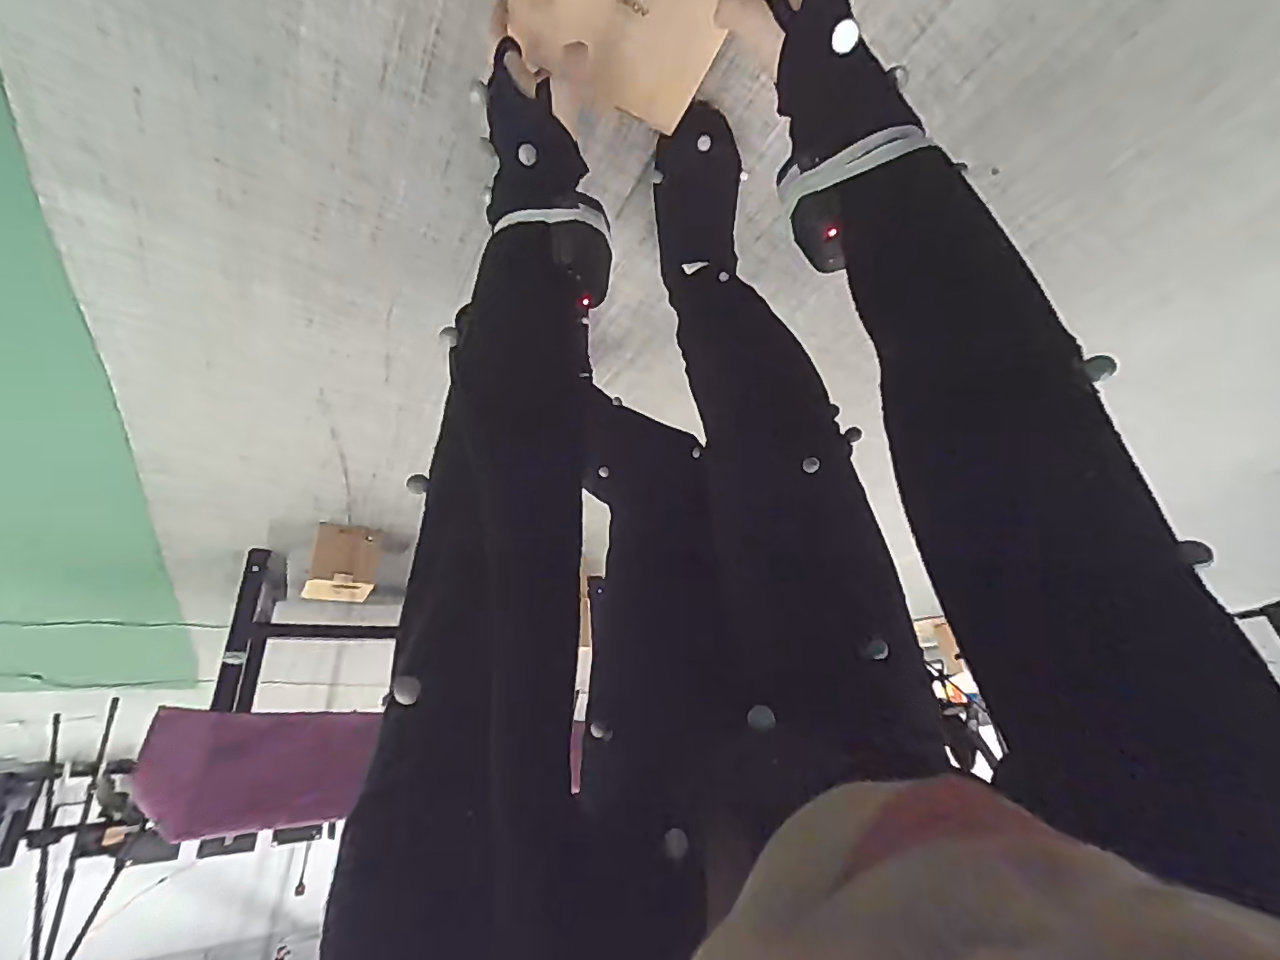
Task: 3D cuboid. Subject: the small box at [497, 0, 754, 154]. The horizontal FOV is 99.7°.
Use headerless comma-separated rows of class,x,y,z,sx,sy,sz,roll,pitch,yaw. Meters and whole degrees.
small box,-0.014,-0.434,0.457,0.168,0.176,0.179,10,147,-28
